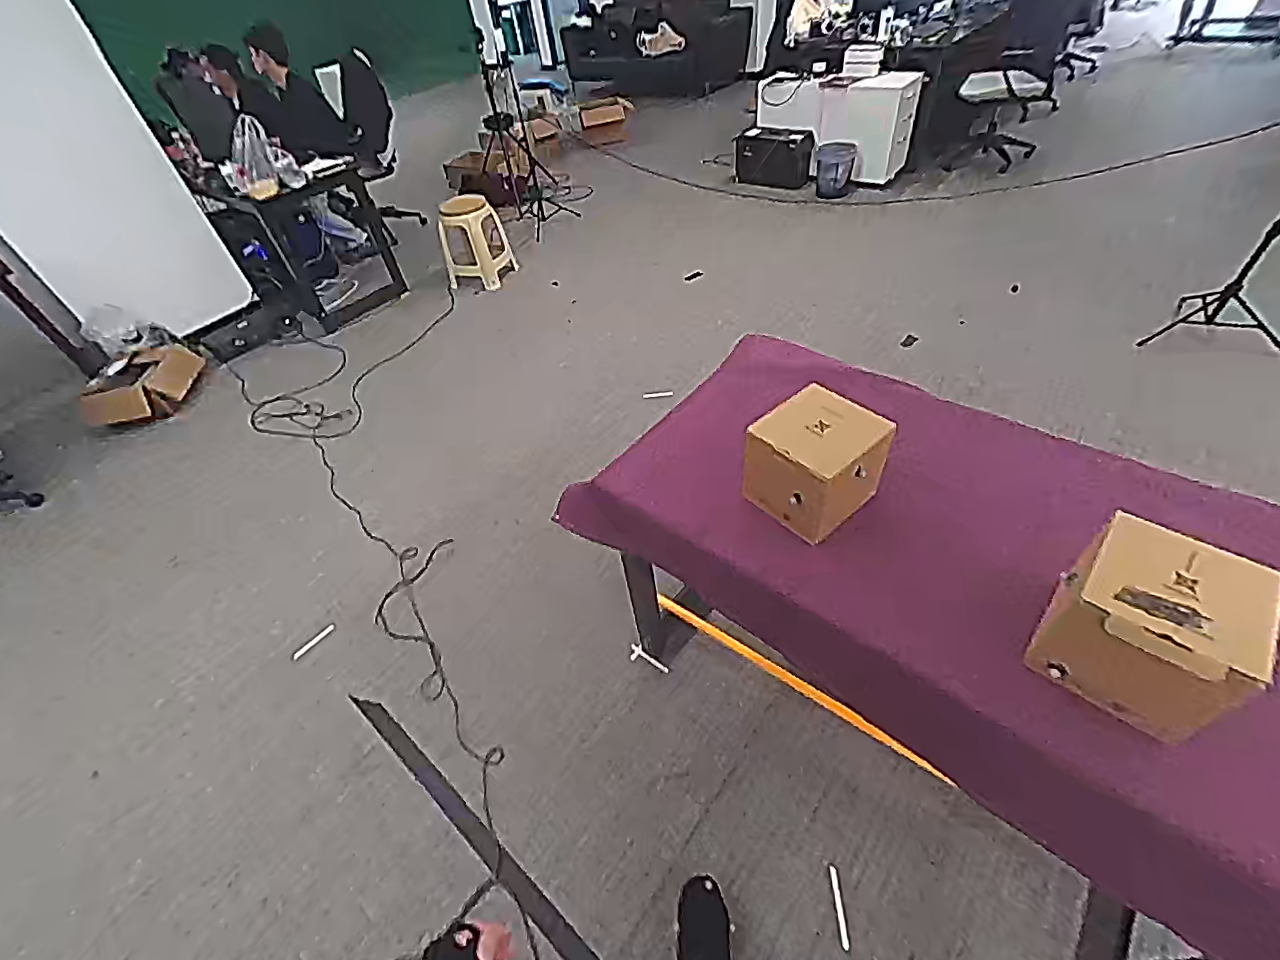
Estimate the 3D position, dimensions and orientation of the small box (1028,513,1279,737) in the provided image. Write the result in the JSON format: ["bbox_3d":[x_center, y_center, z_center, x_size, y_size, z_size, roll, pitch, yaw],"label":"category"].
[{"bbox_3d":[0.626,0.181,0.678,0.168,0.176,0.179,31,56,32],"label":"small box"}]

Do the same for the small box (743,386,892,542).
[{"bbox_3d":[0.296,-0.026,0.932,0.179,0.176,0.168,-33,51,-22],"label":"small box"}]
